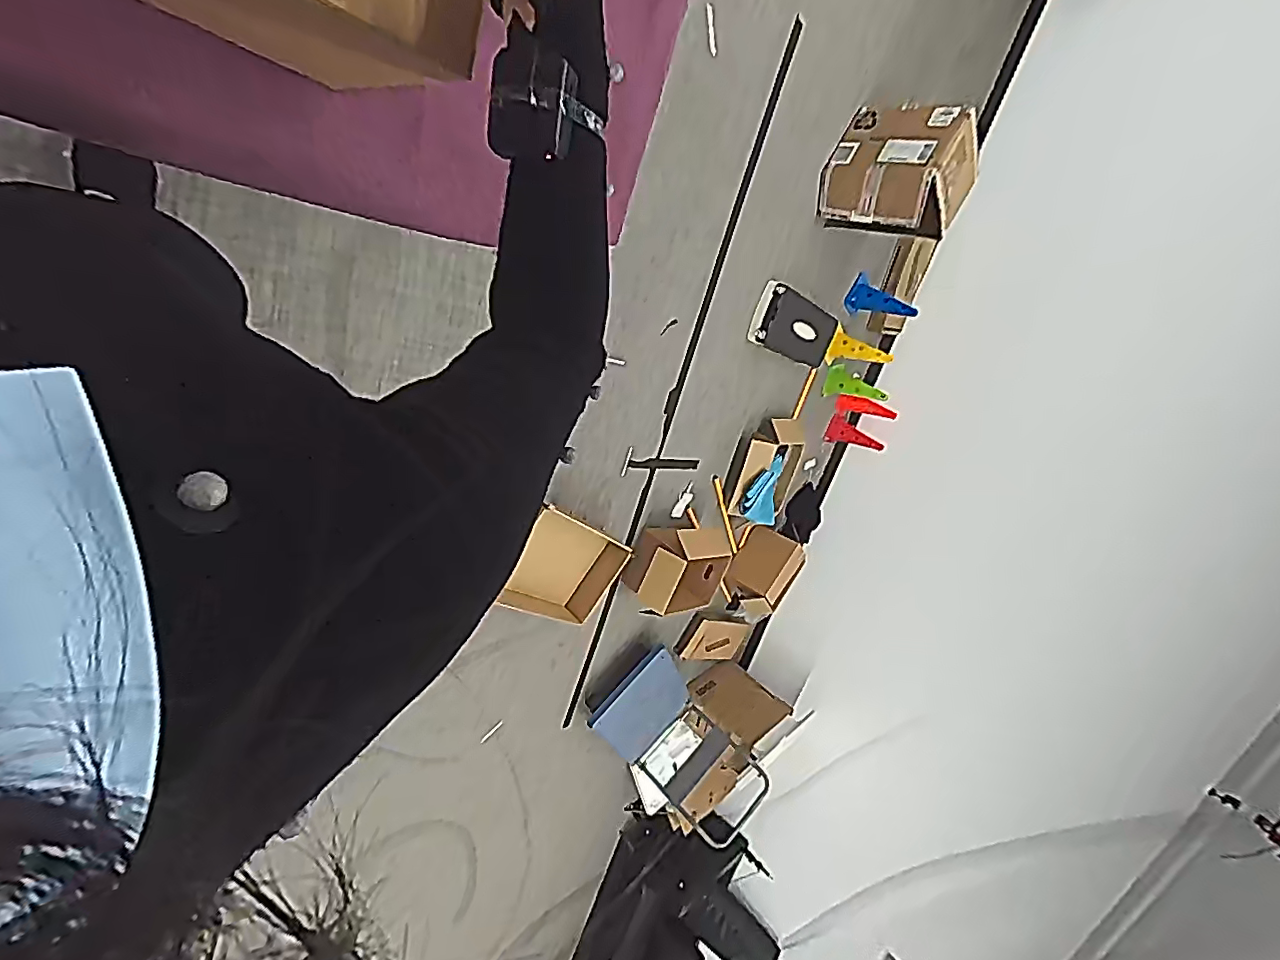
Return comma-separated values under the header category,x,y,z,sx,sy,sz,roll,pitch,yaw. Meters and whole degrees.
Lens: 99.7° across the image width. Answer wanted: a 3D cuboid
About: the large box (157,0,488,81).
category,x,y,z,sx,sy,sz,roll,pitch,yaw
large box,-0.318,-0.496,0.312,0.408,0.320,0.320,-3,116,-46
